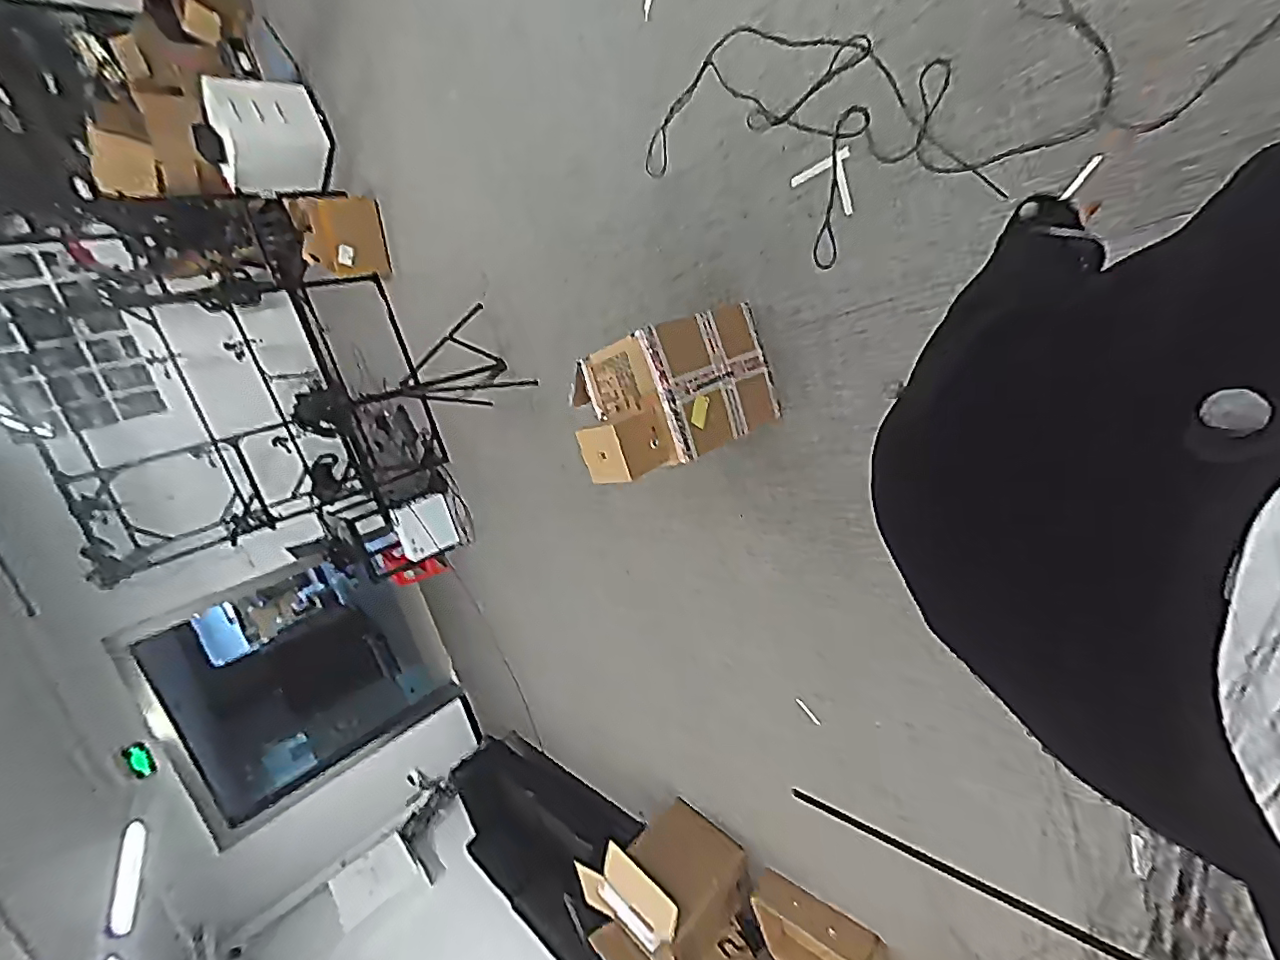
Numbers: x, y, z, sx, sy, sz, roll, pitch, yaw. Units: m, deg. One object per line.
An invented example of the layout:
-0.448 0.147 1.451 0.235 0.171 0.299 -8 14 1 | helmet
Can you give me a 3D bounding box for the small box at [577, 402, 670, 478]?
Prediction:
-0.045 -0.114 1.558 0.179 0.176 0.168 -5 109 47 | small box
